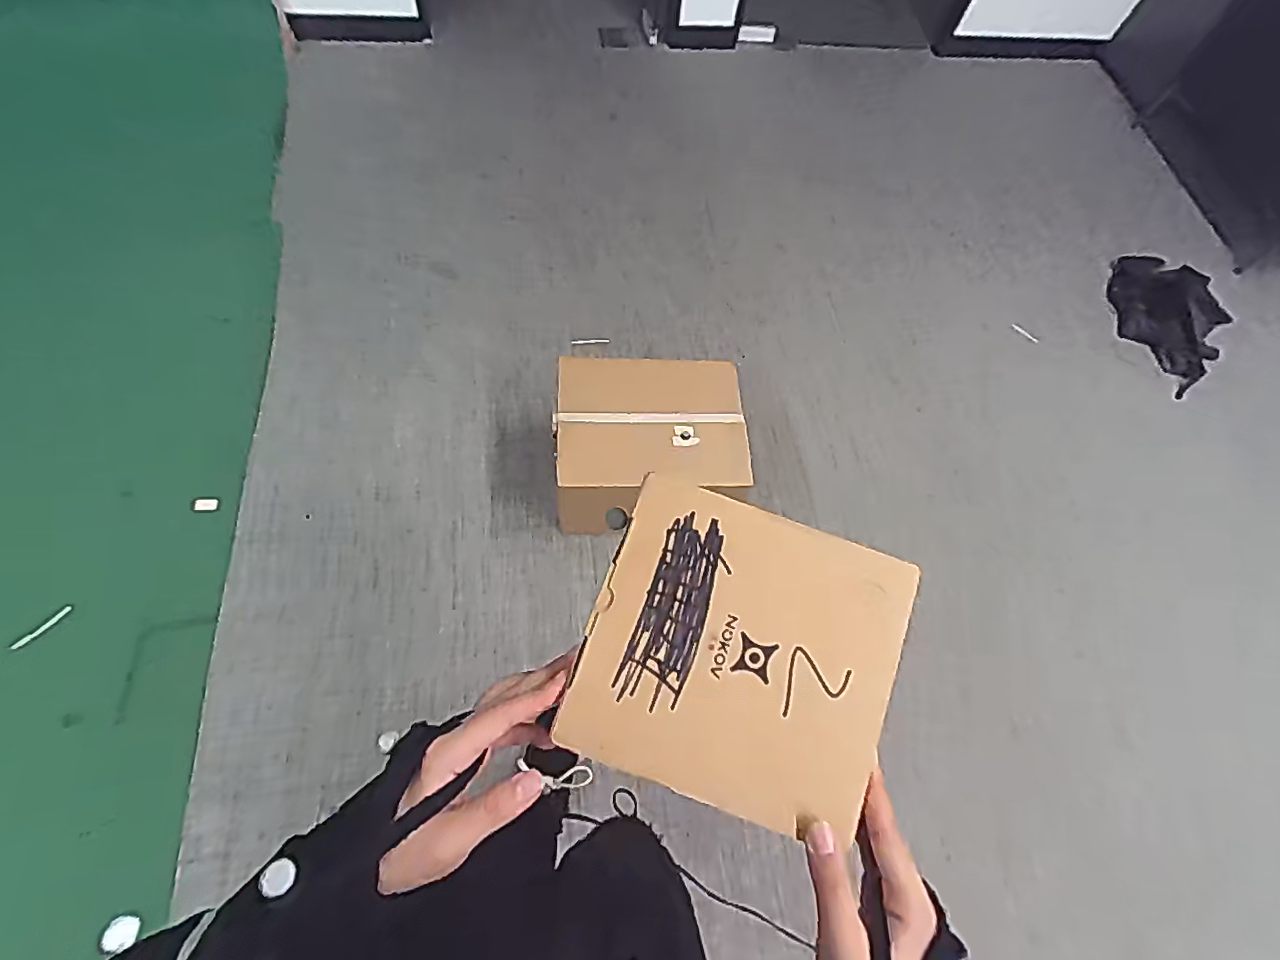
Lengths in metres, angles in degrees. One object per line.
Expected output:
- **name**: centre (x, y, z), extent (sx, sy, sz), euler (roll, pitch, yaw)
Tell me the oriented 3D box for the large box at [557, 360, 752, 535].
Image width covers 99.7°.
- **large box**: centre (0.008, -0.066, 1.283), extent (0.408, 0.320, 0.320), euler (0, 67, -8)
